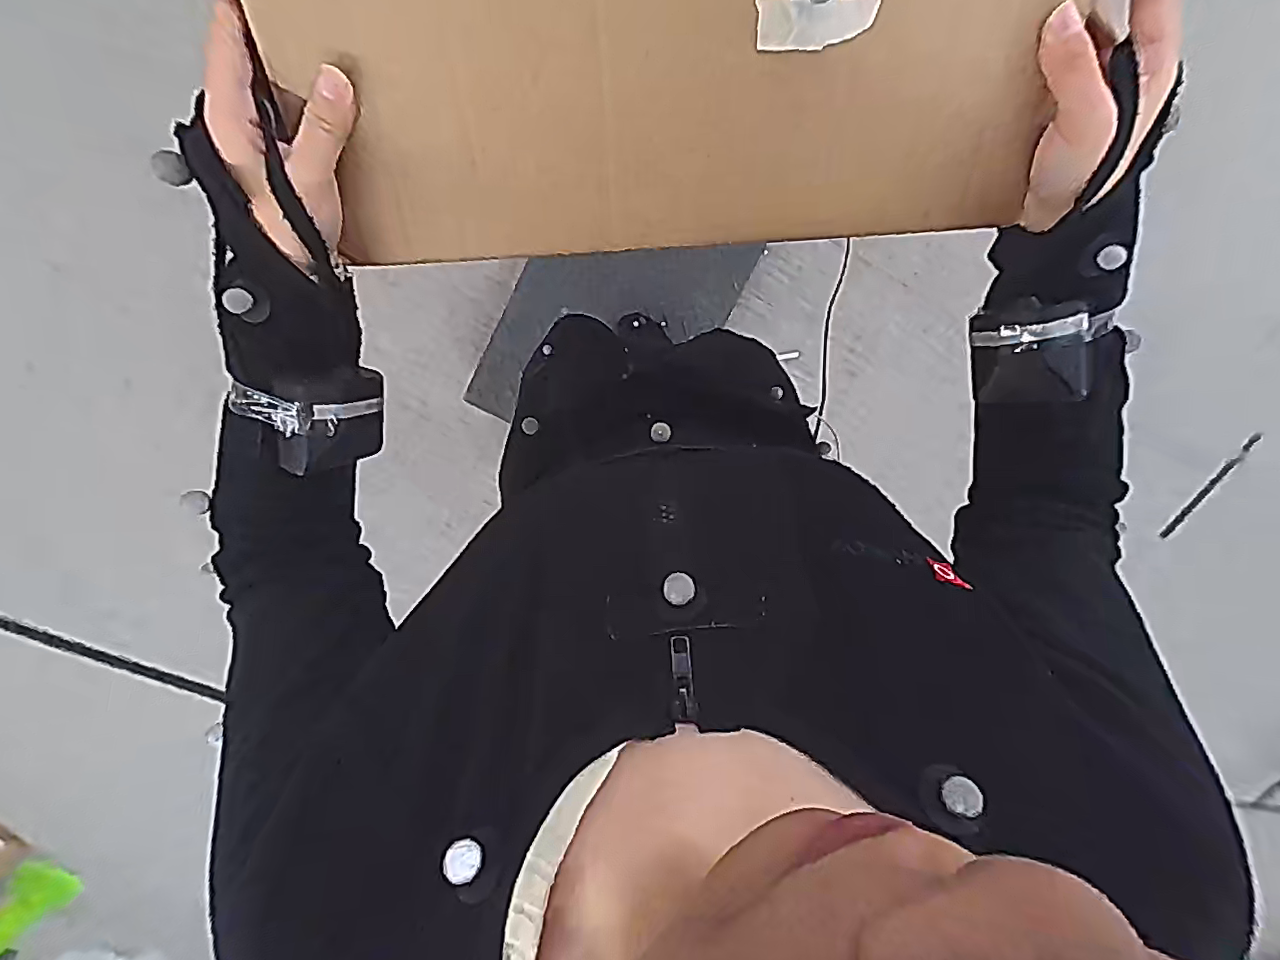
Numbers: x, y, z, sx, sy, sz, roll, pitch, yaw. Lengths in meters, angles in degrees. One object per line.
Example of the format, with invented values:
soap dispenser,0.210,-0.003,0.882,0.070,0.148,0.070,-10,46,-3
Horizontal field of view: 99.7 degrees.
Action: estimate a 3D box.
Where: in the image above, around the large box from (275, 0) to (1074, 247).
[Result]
large box,0.012,-0.361,0.363,0.408,0.320,0.320,-3,125,-1
